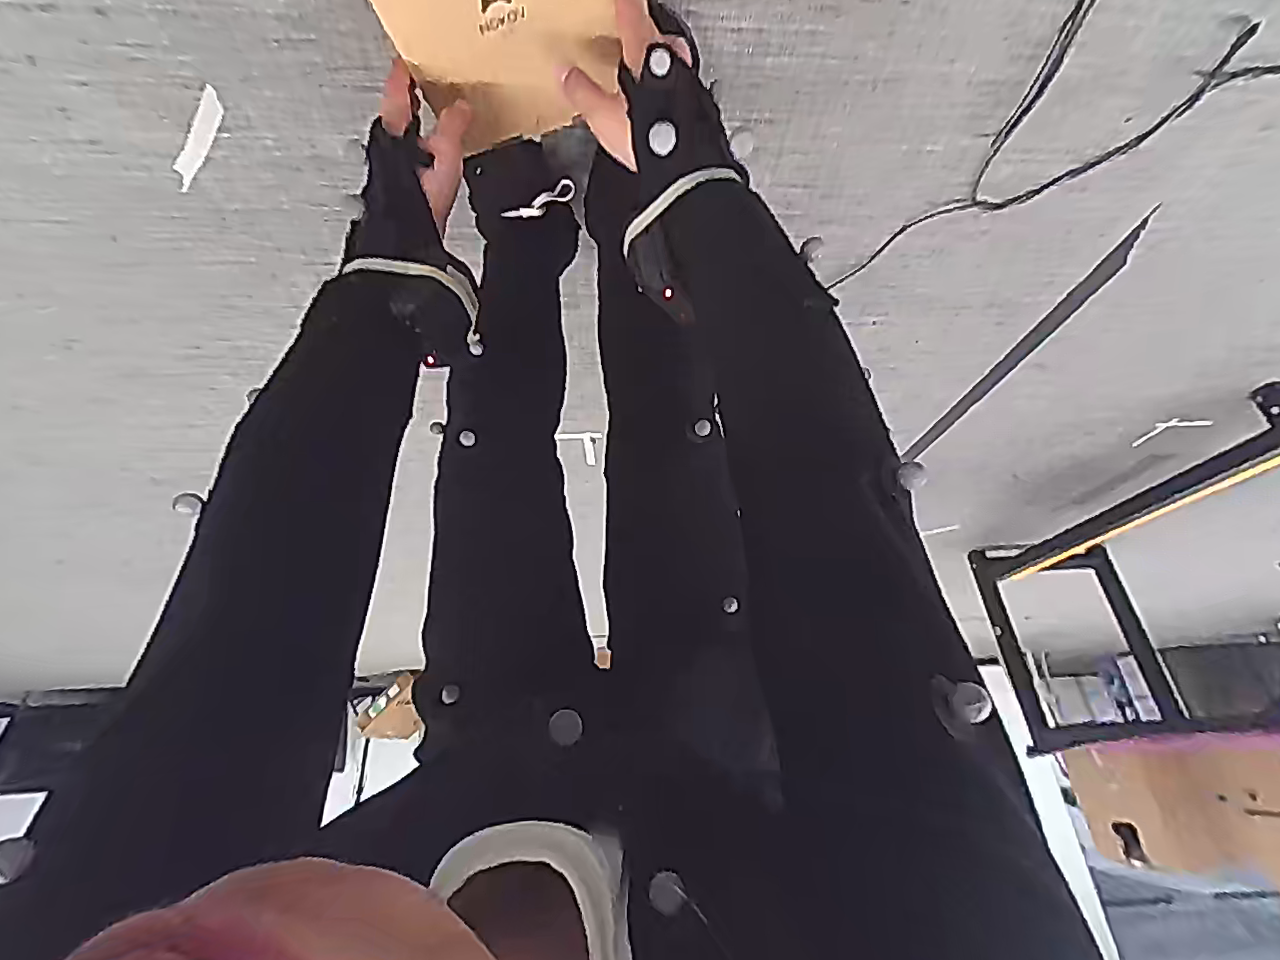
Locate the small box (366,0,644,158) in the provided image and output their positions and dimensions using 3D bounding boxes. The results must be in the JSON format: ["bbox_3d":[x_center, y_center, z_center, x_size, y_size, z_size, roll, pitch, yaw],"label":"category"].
[{"bbox_3d":[-0.101,-0.391,0.402,0.168,0.176,0.179,-10,147,15],"label":"small box"}]

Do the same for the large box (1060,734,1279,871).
[{"bbox_3d":[1.653,0.983,1.674,0.408,0.320,0.320,-3,153,-4],"label":"large box"}]
